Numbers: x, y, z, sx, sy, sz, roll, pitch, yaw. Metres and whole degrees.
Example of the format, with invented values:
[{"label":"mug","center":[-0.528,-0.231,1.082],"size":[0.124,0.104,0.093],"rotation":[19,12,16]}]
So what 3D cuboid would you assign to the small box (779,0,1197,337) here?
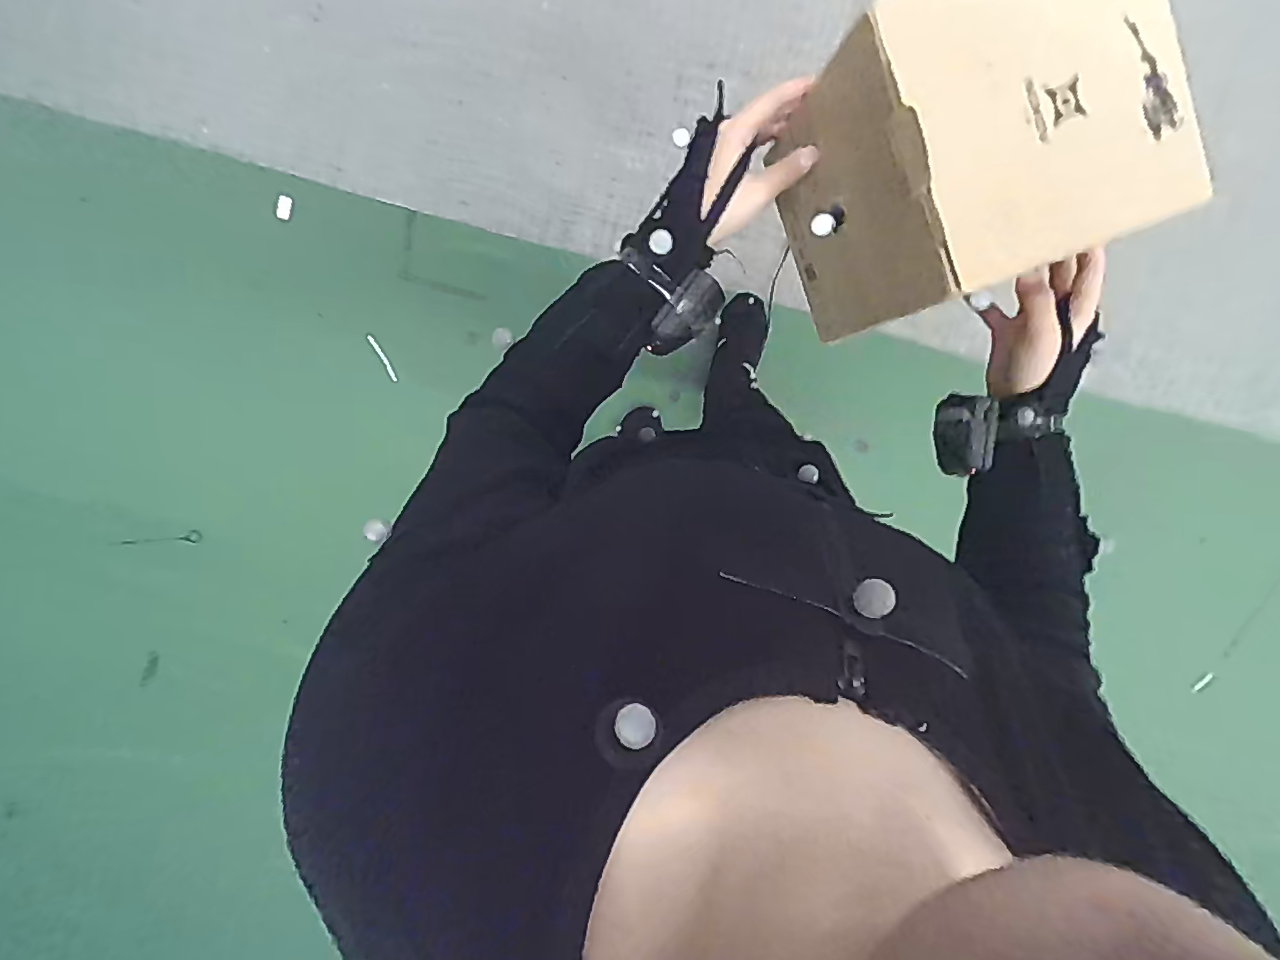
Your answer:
[{"label":"small box","center":[0.218,-0.217,0.390],"size":[0.179,0.176,0.168],"rotation":[-21,96,-4]}]
